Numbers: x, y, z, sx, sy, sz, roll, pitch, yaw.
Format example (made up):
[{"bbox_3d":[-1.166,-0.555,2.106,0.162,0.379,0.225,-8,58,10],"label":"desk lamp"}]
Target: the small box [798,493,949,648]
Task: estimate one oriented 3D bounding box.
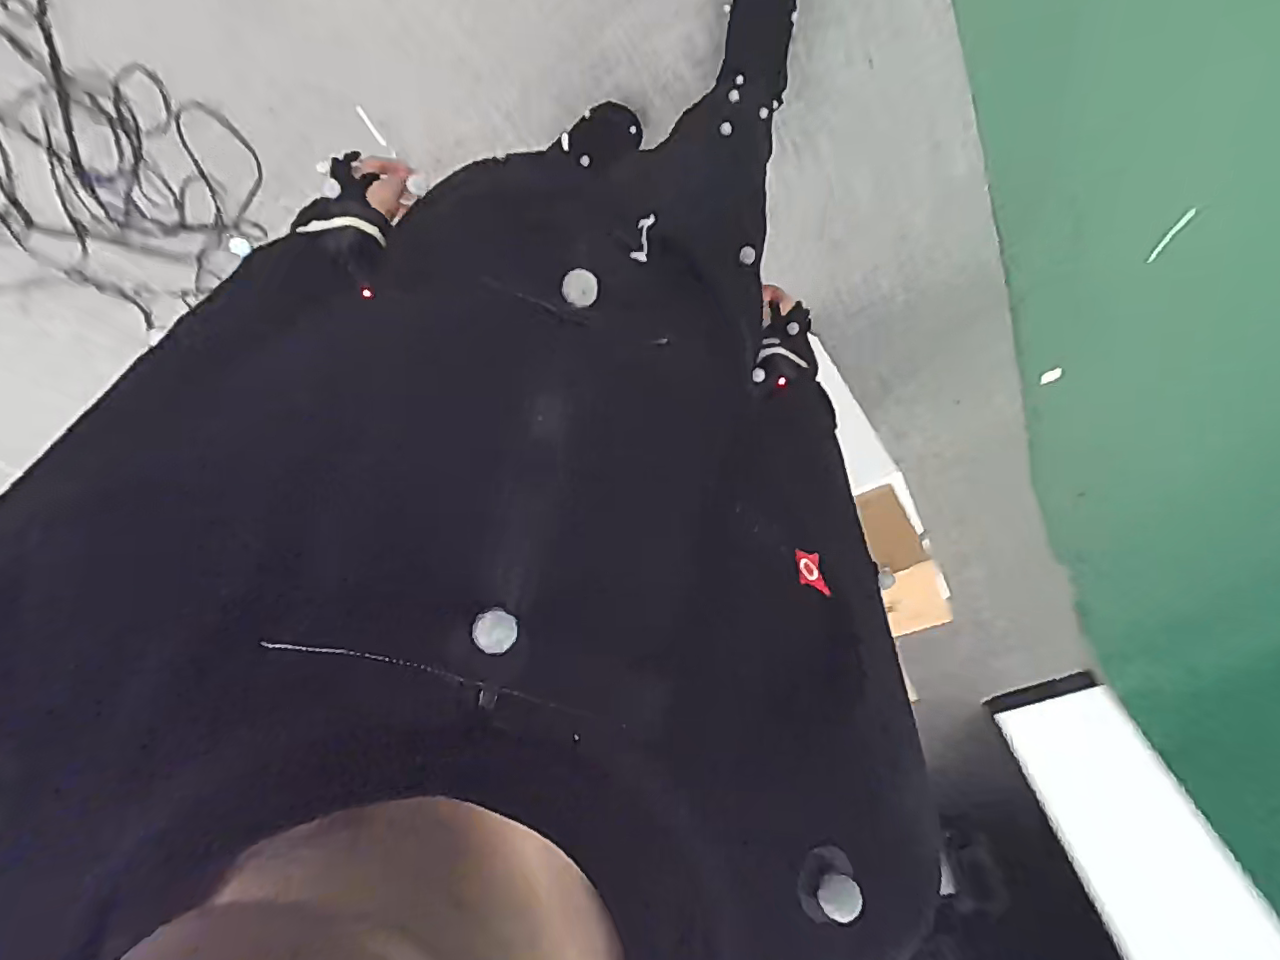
[{"bbox_3d":[0.377,0.143,0.891,0.168,0.176,0.179,-23,130,19],"label":"small box"}]
